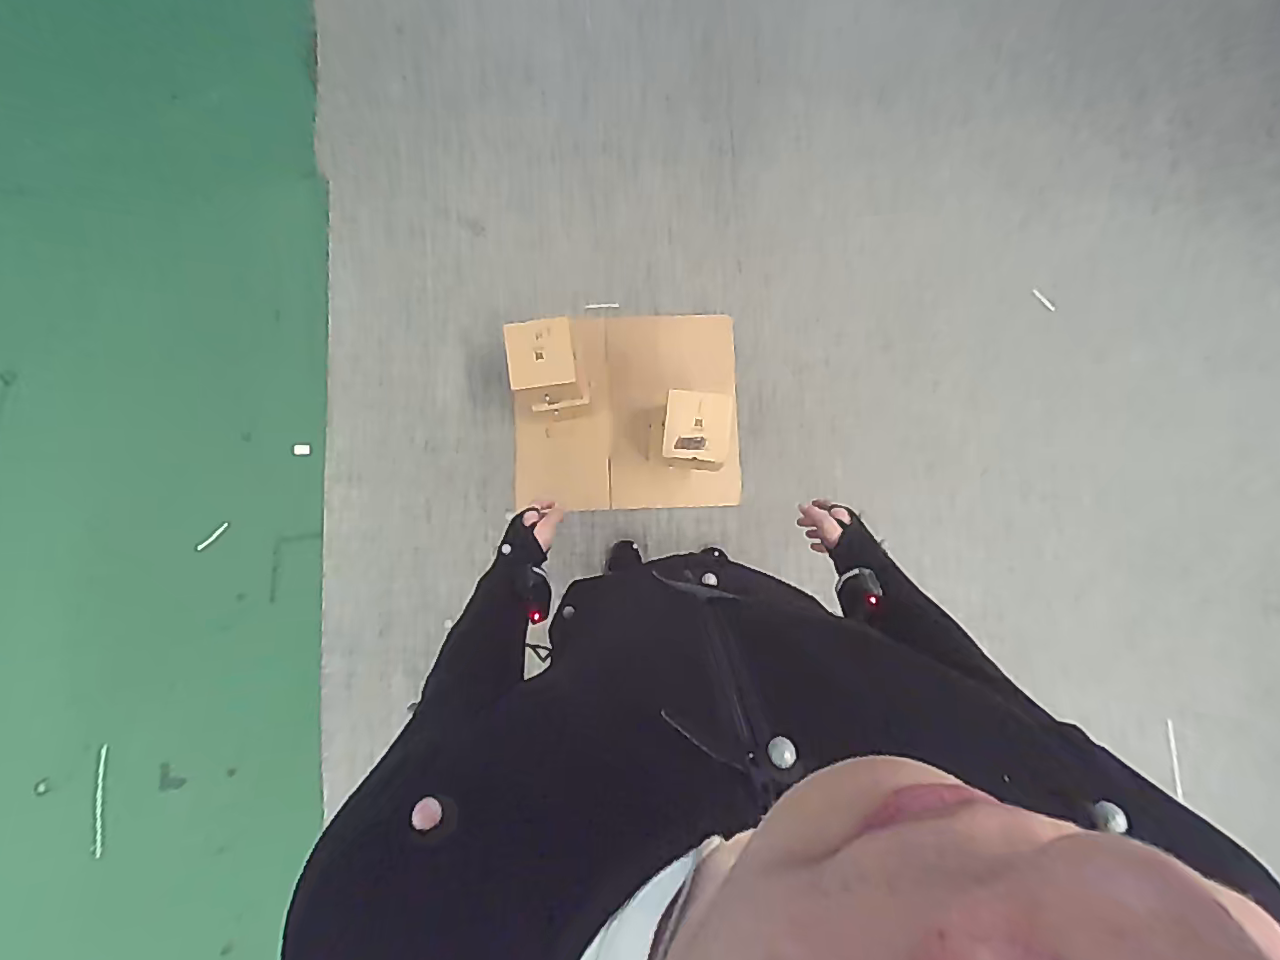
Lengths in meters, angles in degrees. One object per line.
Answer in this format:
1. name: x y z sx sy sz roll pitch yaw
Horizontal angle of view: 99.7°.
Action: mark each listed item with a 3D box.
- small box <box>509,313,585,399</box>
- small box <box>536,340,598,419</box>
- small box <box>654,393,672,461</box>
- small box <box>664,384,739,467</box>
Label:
1. small box: -0.240 -0.321 1.433 0.168 0.176 0.179 -7 84 -1
2. small box: -0.219 -0.291 1.596 0.168 0.176 0.179 -8 84 0
3. small box: 0.128 -0.146 1.577 0.168 0.176 0.179 3 84 1
4. small box: 0.155 -0.135 1.411 0.168 0.176 0.179 7 83 1
